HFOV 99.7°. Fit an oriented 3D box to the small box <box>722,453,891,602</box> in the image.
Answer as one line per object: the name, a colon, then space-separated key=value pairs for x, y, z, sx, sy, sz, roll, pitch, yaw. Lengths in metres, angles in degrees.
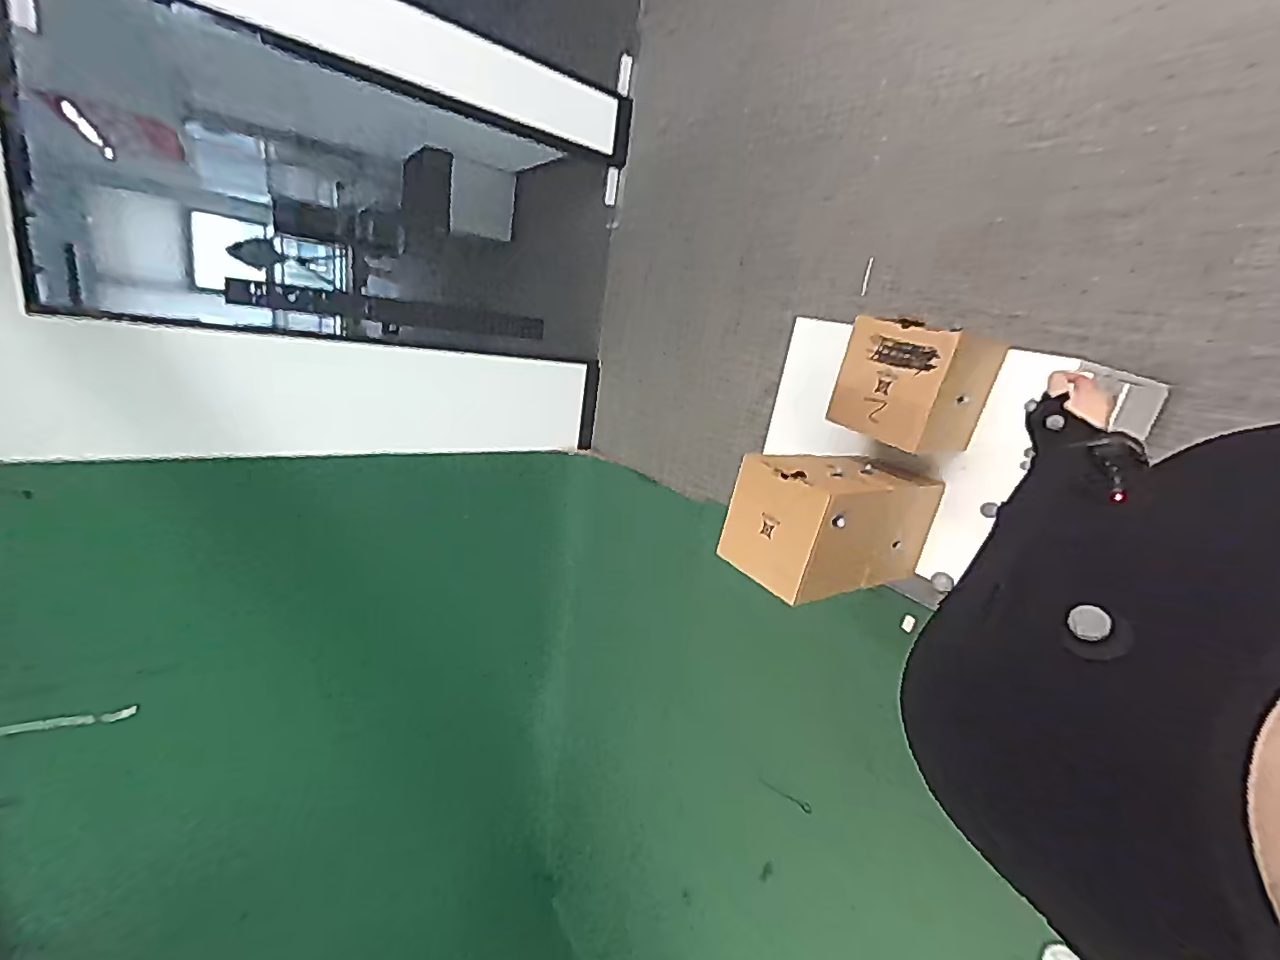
small box: x=0.261 y=0.066 z=0.850 sx=0.168 sy=0.176 sz=0.179 roll=32 pitch=116 yaw=48

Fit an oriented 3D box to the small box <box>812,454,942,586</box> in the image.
small box: x=0.393 y=0.060 z=0.946 sx=0.168 sy=0.176 sz=0.179 roll=30 pitch=115 yaw=48
